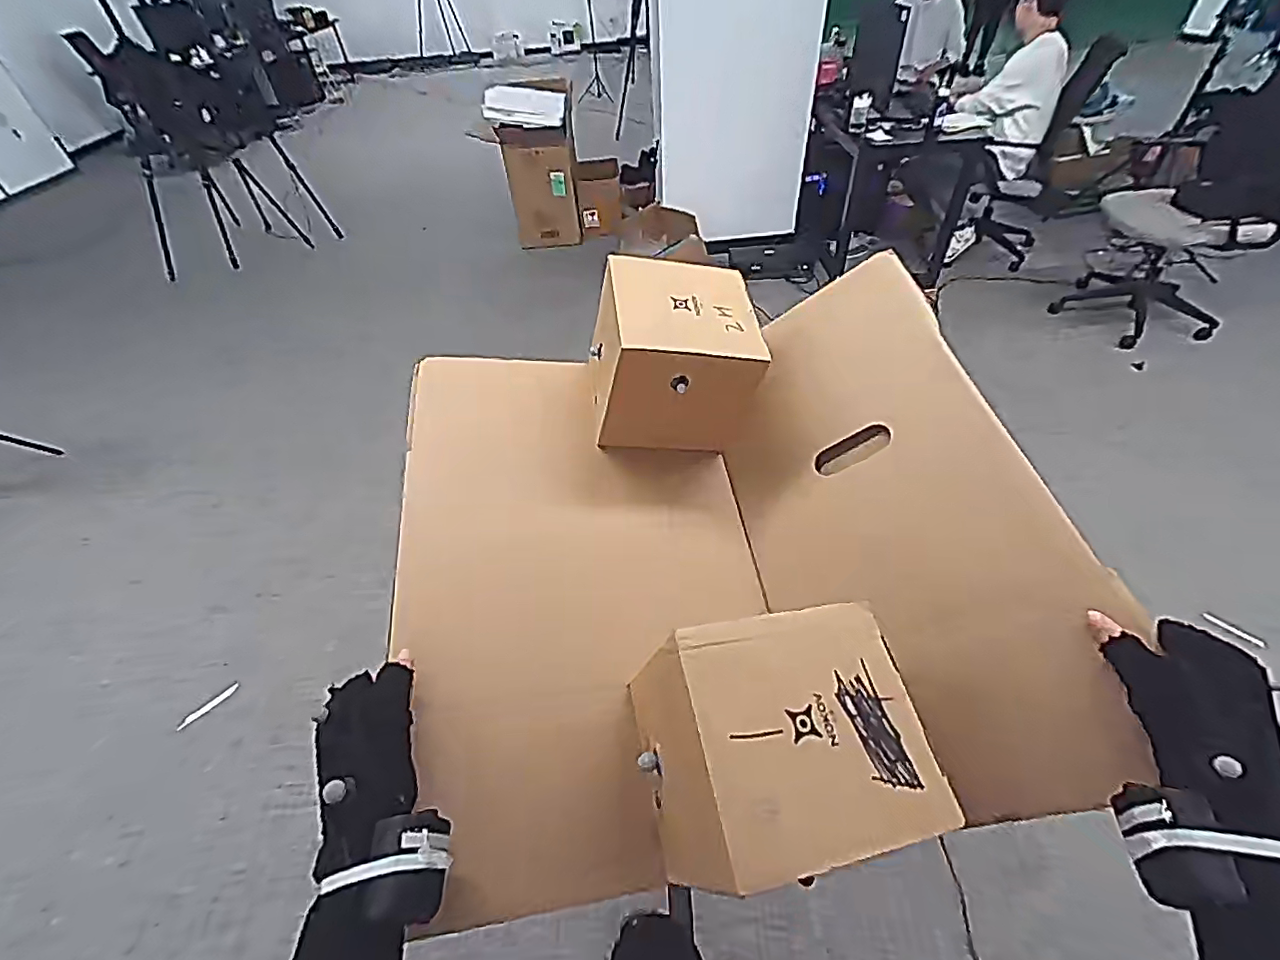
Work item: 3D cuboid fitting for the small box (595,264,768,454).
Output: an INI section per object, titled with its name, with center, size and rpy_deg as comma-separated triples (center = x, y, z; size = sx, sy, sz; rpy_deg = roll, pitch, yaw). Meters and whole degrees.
[small box]
center = 0.037, -0.147, 0.697
size = 0.179, 0.176, 0.168
rpy_deg = 3, 55, -14
